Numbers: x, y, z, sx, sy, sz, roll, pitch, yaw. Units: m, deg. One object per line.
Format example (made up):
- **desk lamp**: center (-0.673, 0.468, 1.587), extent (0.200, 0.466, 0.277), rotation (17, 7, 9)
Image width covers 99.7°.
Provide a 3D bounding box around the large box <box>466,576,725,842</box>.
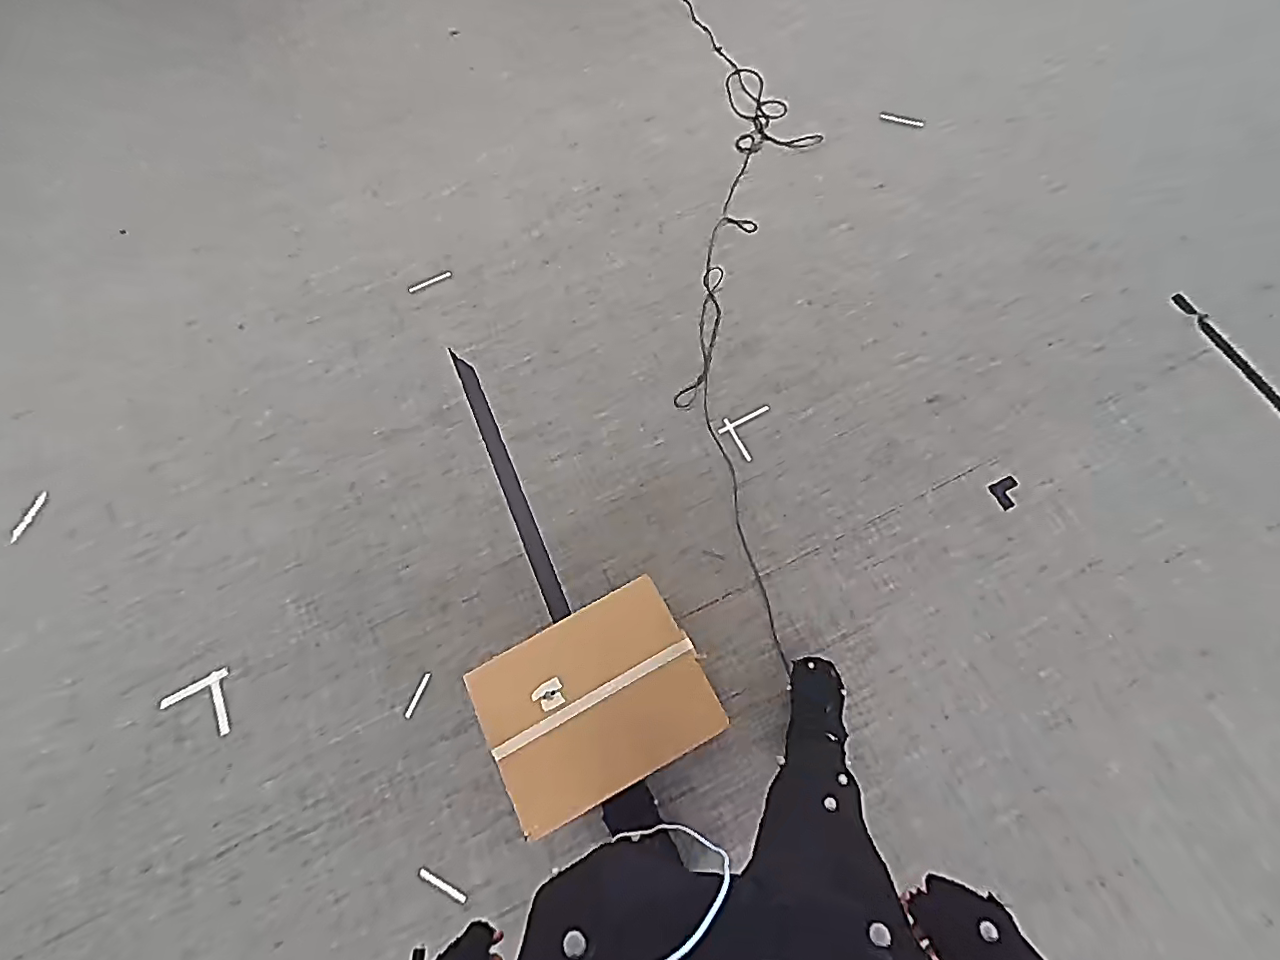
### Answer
- **large box**: center (-0.074, 0.450, 1.130), extent (0.408, 0.320, 0.320), rotation (-29, 69, -3)
